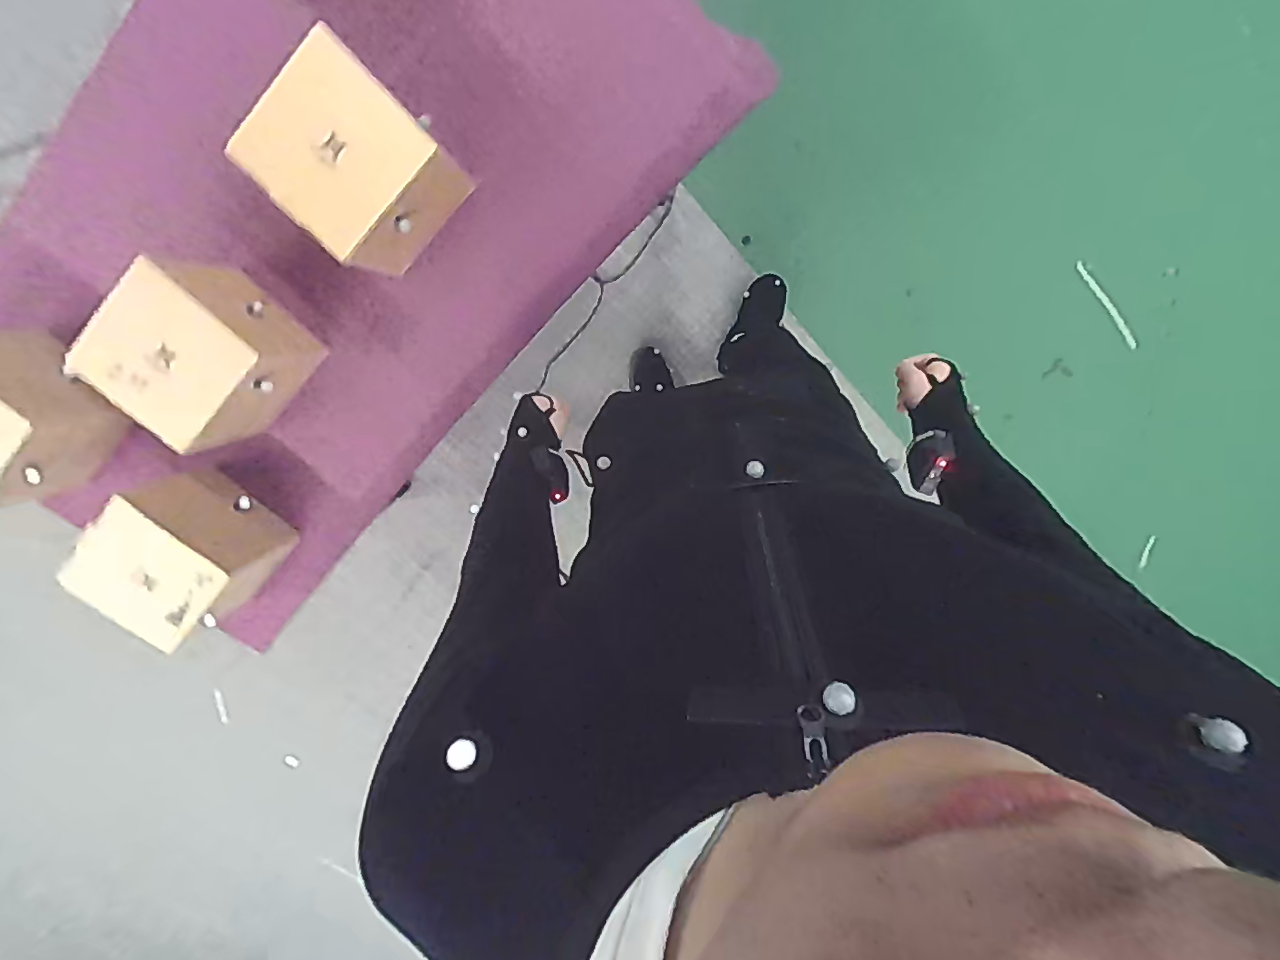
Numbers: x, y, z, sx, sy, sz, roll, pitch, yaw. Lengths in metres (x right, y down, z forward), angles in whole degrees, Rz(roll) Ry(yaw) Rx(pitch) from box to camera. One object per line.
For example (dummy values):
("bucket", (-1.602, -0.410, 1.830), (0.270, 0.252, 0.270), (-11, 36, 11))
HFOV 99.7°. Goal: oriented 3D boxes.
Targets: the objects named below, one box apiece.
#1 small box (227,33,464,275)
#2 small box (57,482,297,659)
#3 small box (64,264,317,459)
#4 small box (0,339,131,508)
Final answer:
("small box", (-0.345, -0.383, 0.677), (0.179, 0.176, 0.168), (-44, 103, 11))
("small box", (-0.673, 0.120, 0.808), (0.179, 0.176, 0.168), (42, 101, -10))
("small box", (-0.582, -0.160, 0.732), (0.179, 0.176, 0.168), (-44, 102, 10))
("small box", (-0.879, -0.076, 0.749), (0.168, 0.176, 0.179), (43, 100, -13))
